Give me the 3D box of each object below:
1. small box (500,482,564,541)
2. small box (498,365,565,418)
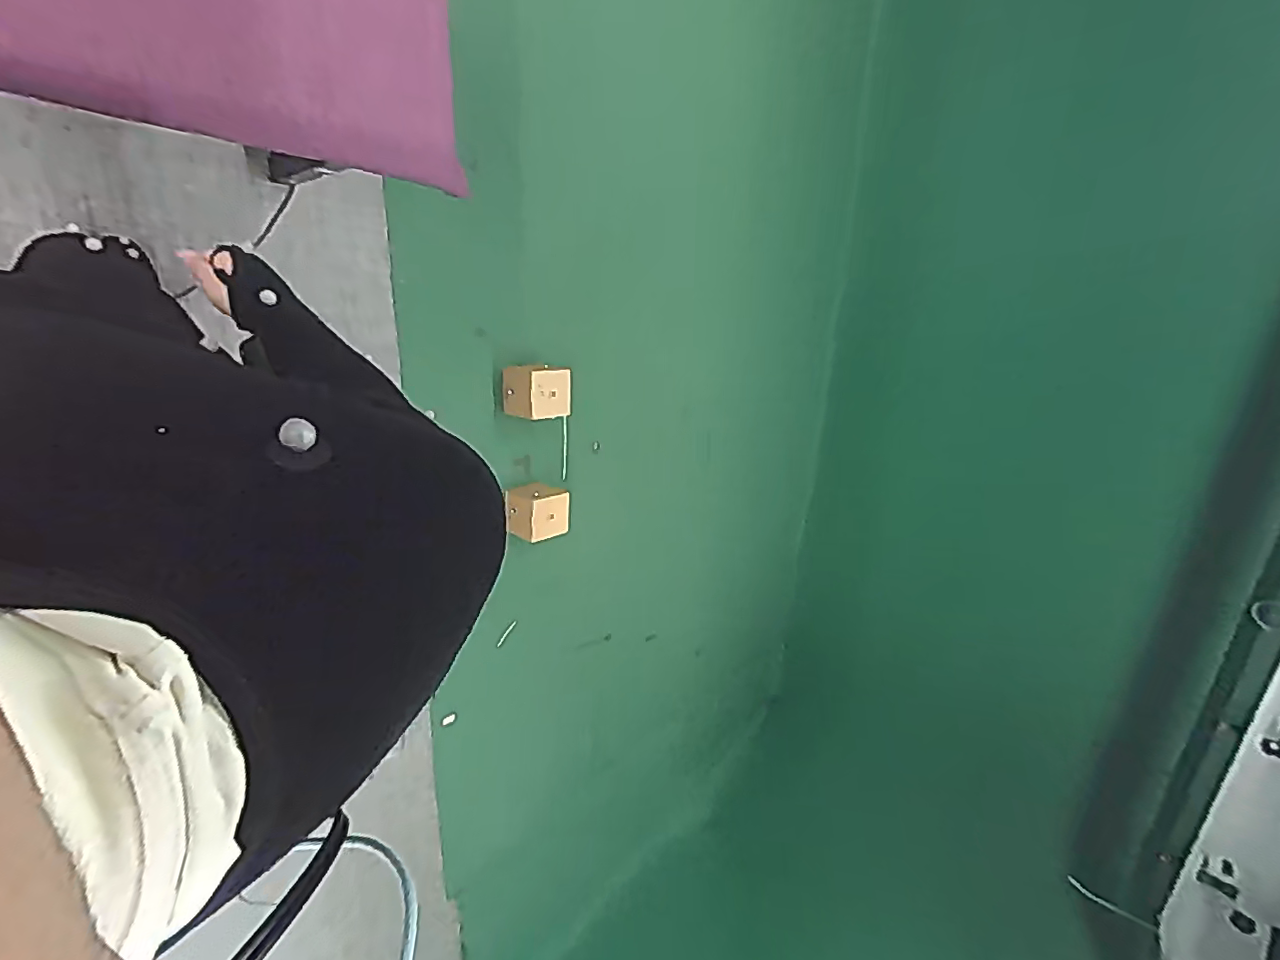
[{"bbox_3d":[-0.412,0.114,2.068,0.179,0.176,0.168,-15,115,-47],"label":"small box"},{"bbox_3d":[-0.388,-0.321,1.932,0.179,0.176,0.168,-16,115,-47],"label":"small box"}]
